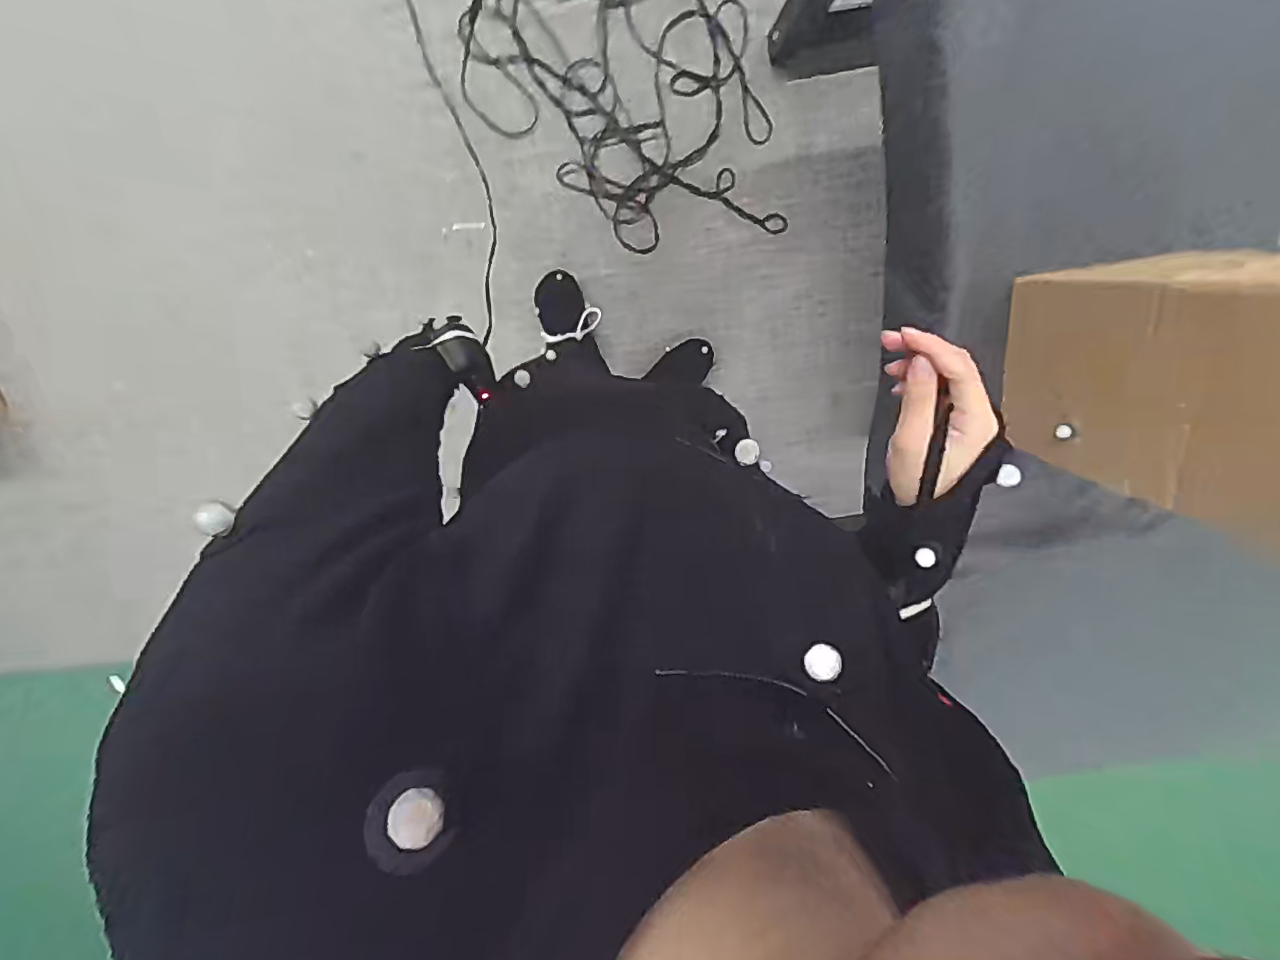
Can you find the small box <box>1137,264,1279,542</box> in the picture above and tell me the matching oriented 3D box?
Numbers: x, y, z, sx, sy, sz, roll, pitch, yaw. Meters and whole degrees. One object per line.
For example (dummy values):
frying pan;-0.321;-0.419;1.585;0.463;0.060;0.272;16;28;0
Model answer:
small box;0.481;-0.052;0.347;0.168;0.176;0.179;-8;111;1
